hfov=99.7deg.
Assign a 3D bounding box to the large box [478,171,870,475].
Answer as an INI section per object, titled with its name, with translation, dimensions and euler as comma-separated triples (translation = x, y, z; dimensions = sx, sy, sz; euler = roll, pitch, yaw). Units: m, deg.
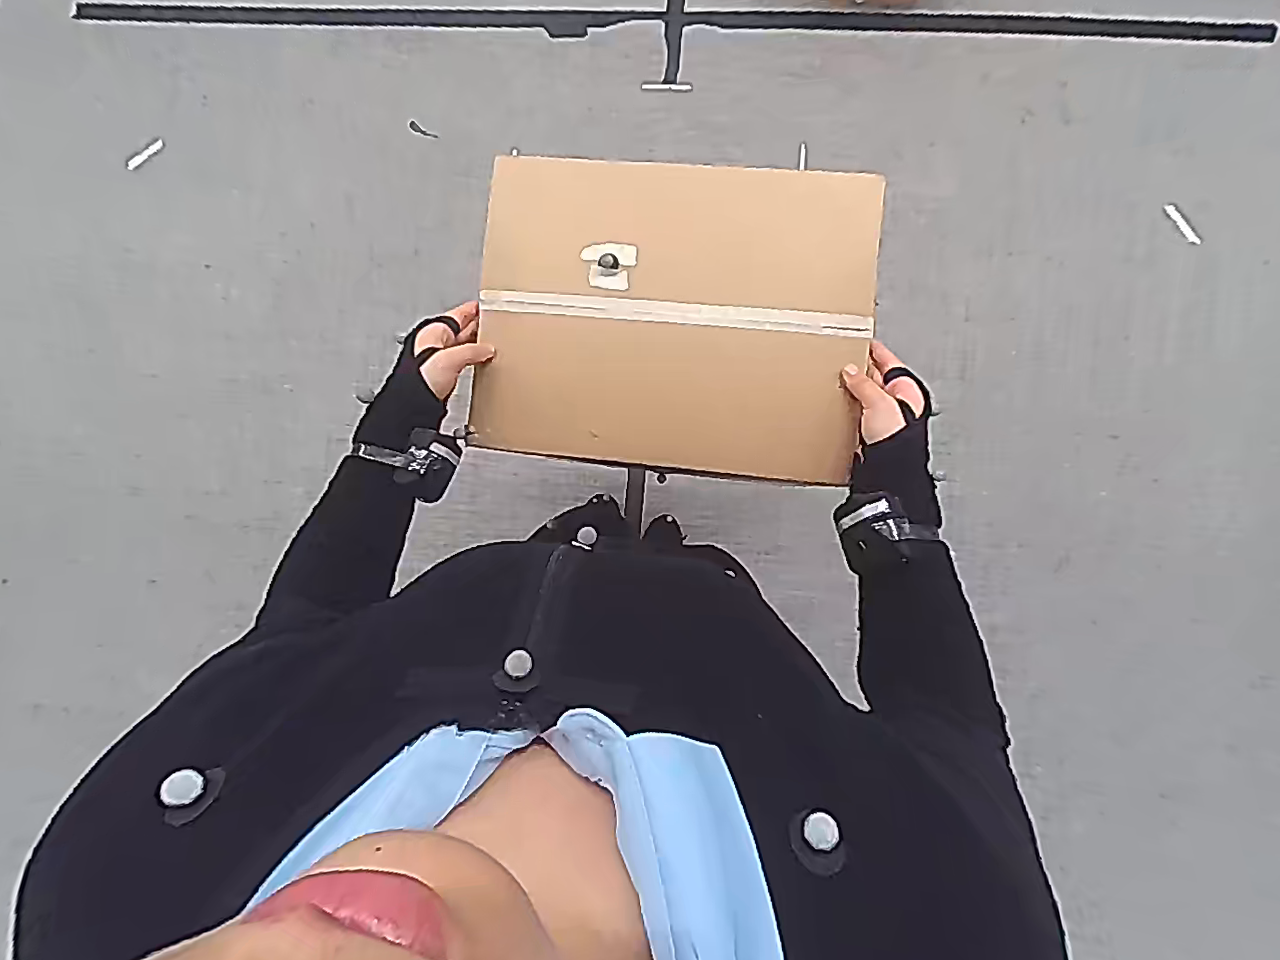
[large box]
translation = 0.047, -0.172, 0.720
dimensions = 0.408, 0.320, 0.320
euler = 5, 89, 6
